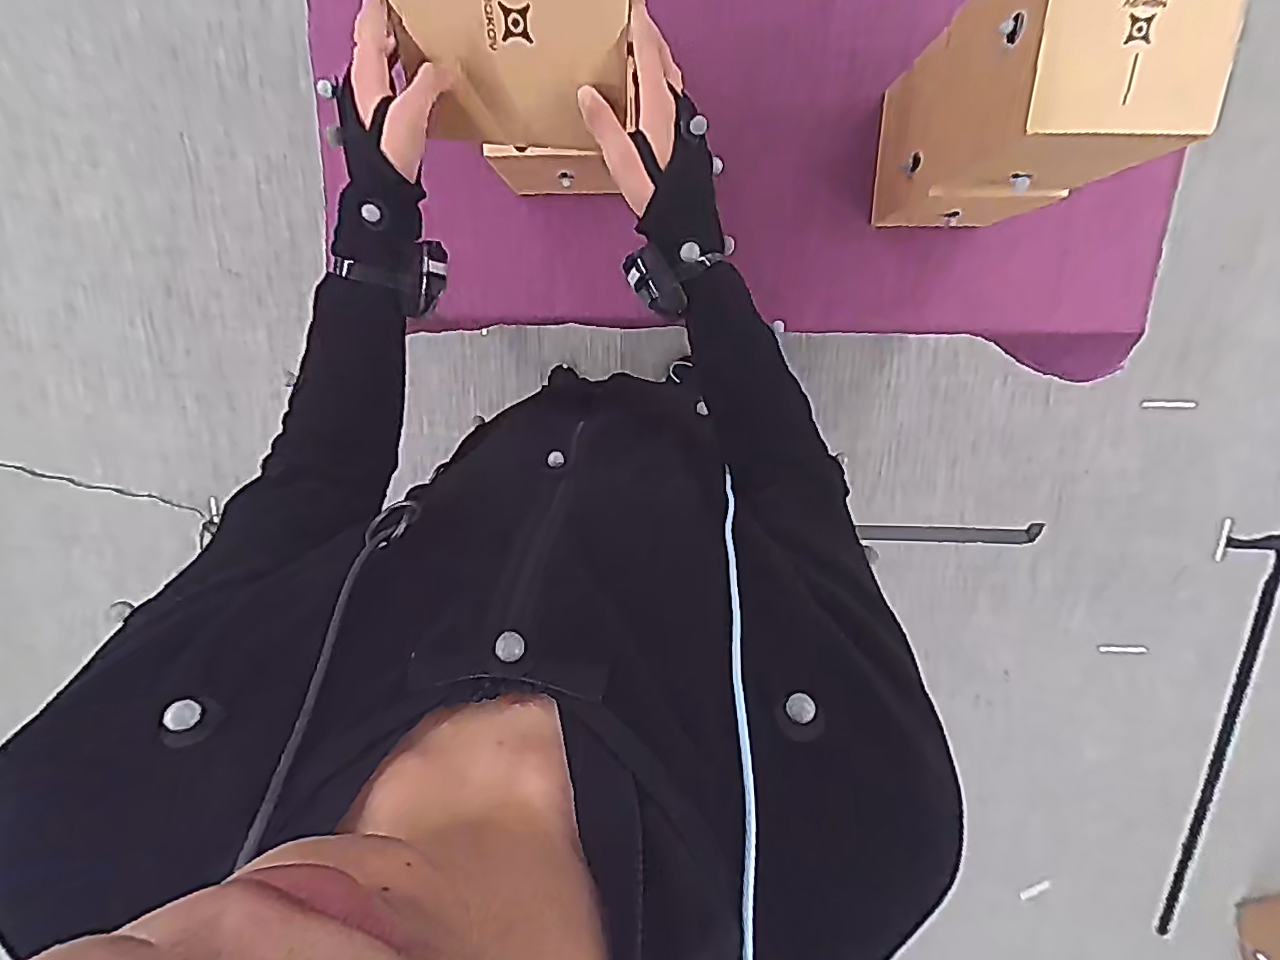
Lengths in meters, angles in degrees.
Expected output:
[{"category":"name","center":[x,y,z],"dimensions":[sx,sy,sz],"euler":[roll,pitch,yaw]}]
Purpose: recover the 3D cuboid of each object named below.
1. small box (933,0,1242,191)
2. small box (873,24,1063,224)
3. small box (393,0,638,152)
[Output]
[{"category":"small box","center":[0.420,-0.406,0.534],"dimensions":[0.168,0.176,0.179],"euler":[2,105,0]},{"category":"small box","center":[0.420,-0.438,0.695],"dimensions":[0.168,0.176,0.179],"euler":[1,104,0]},{"category":"small box","center":[-0.089,-0.397,0.444],"dimensions":[0.179,0.176,0.168],"euler":[4,141,-1]}]
